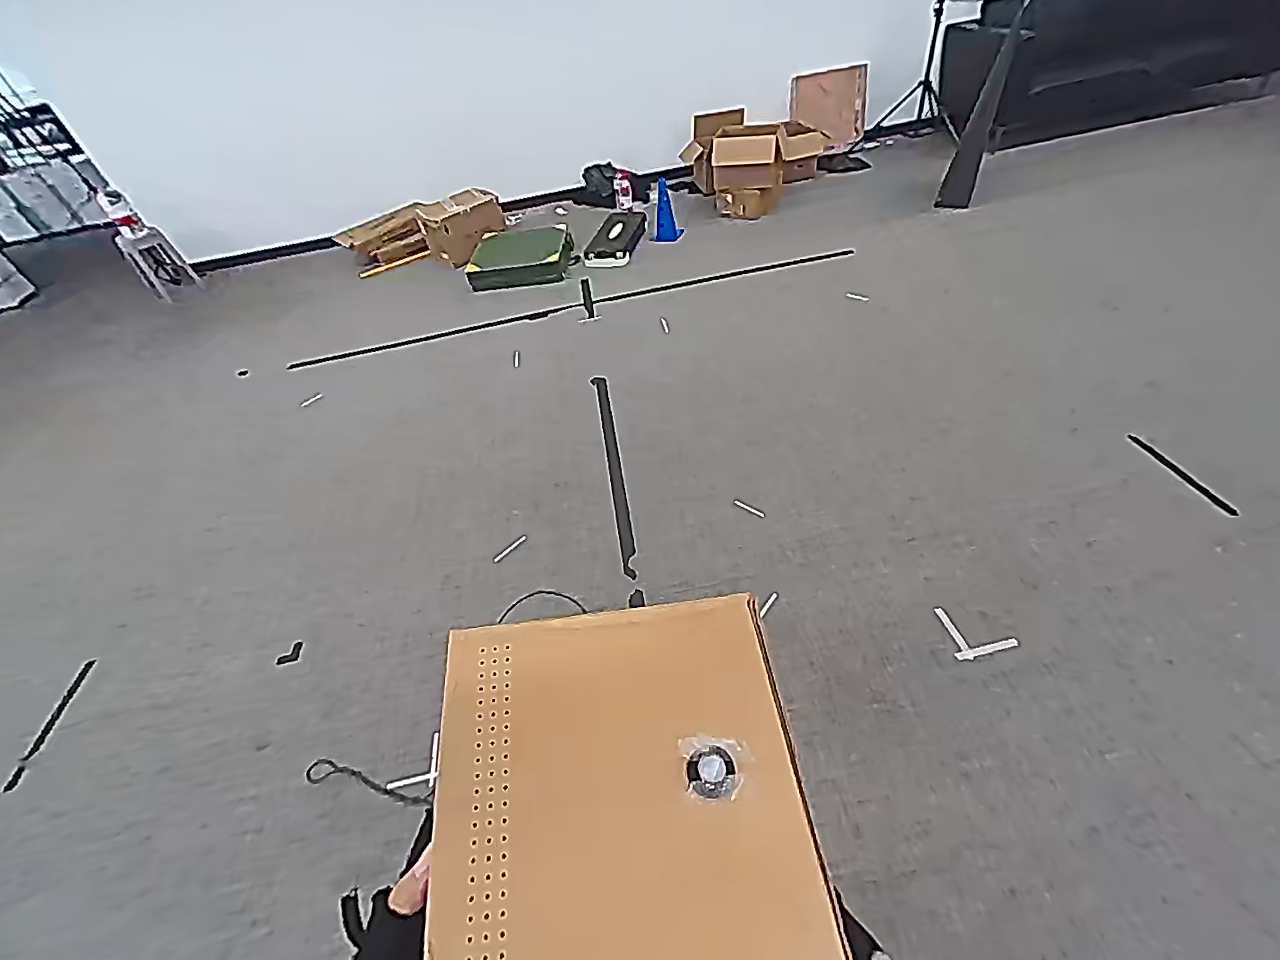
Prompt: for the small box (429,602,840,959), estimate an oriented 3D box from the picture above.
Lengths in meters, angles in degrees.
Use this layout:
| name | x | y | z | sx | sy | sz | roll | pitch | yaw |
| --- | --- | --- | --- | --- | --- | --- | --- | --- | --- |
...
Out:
| name | x | y | z | sx | sy | sz | roll | pitch | yaw |
| --- | --- | --- | --- | --- | --- | --- | --- | --- | --- |
| small box | -0.010 | 0.193 | 0.316 | 0.176 | 0.168 | 0.179 | -7 | 54 | -2 |
